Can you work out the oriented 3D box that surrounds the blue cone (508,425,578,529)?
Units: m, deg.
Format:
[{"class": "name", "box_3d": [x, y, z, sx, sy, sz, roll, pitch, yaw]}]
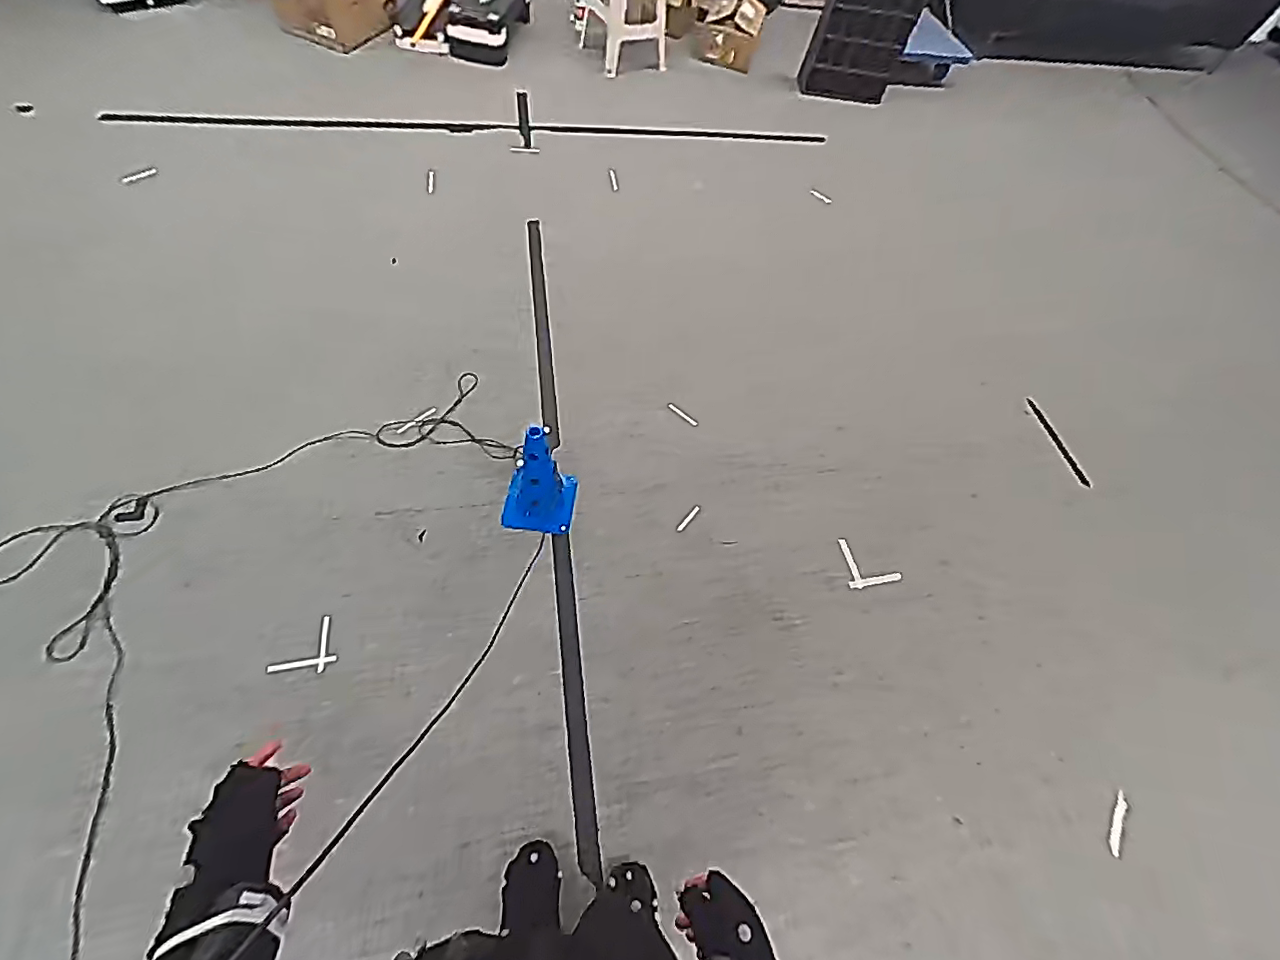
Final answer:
[{"class": "blue cone", "box_3d": [-0.266, -0.029, 1.473, 0.192, 0.380, 0.193, 10, 59, -3]}]
